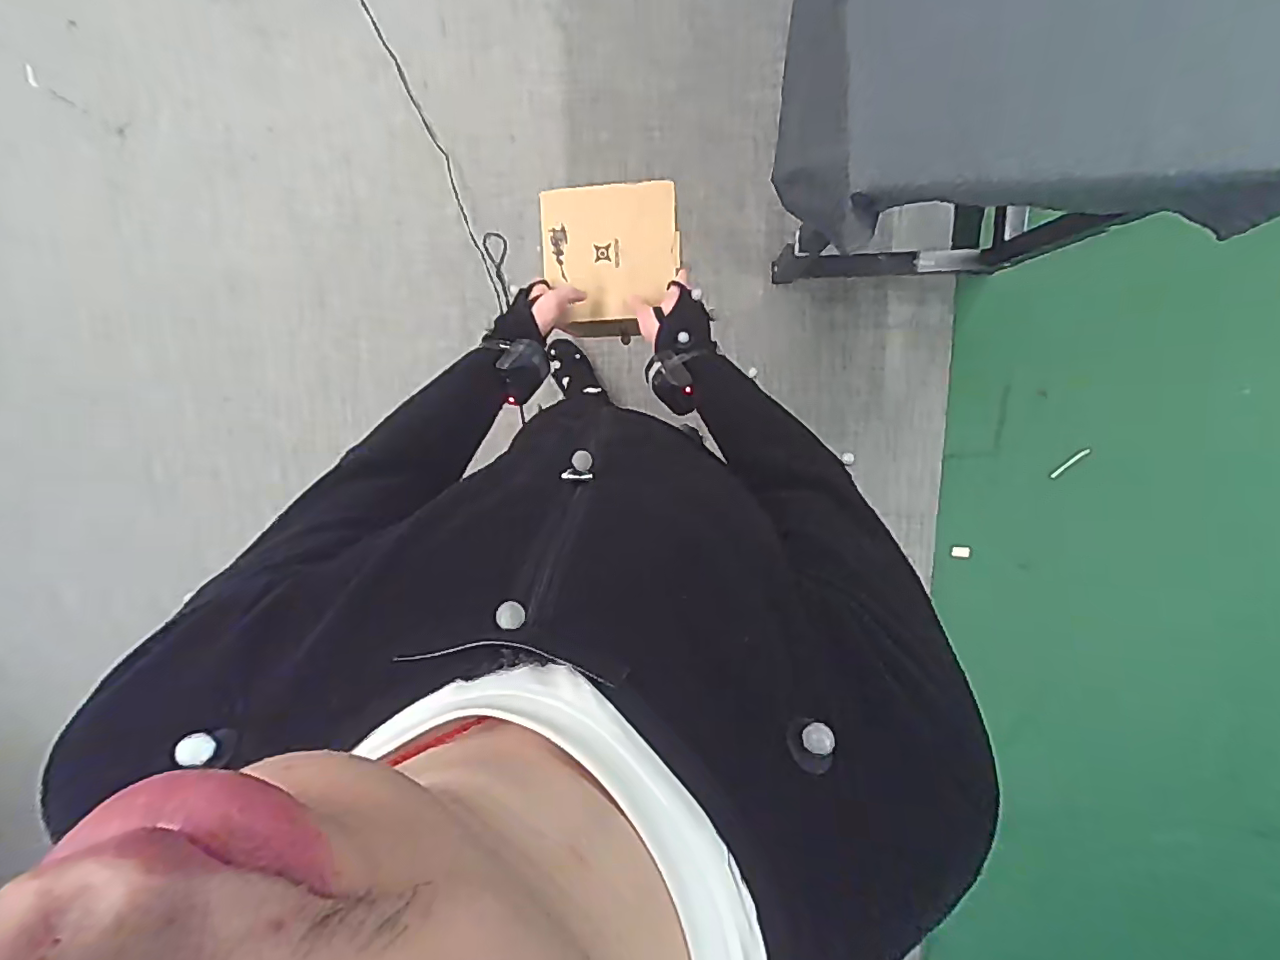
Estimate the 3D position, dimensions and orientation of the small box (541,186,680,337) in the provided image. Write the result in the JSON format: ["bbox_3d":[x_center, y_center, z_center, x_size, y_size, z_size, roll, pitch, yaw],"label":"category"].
[{"bbox_3d":[-0.031,-0.298,0.769,0.179,0.176,0.168,-1,98,6],"label":"small box"}]
